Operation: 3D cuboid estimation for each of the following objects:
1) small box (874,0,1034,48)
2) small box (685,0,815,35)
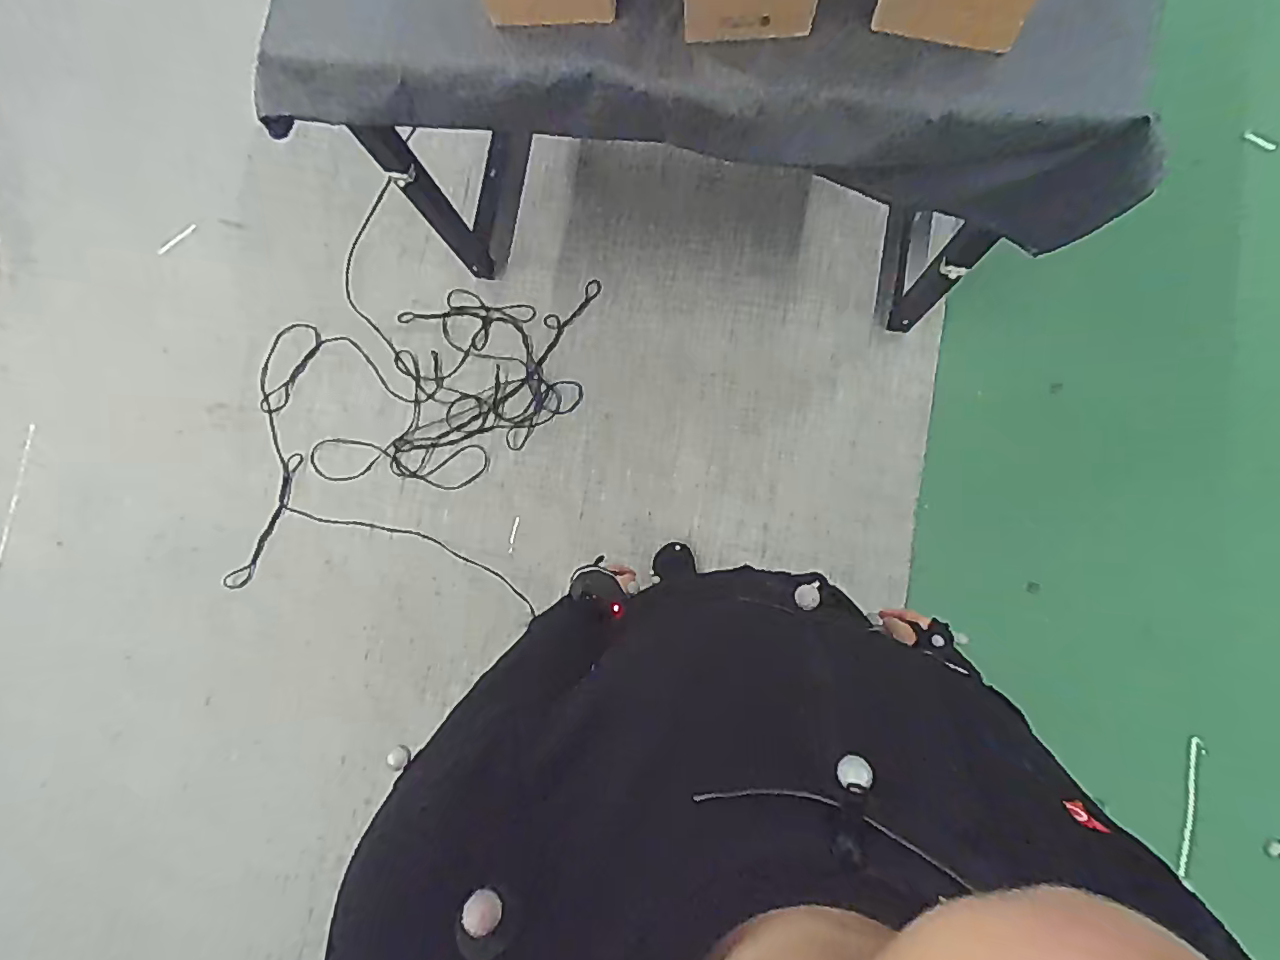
[{"bbox_3d":[0.395,-0.649,0.621,0.179,0.176,0.168,17,85,7],"label":"small box"},{"bbox_3d":[0.139,-0.681,0.651,0.168,0.176,0.179,2,82,5],"label":"small box"}]
